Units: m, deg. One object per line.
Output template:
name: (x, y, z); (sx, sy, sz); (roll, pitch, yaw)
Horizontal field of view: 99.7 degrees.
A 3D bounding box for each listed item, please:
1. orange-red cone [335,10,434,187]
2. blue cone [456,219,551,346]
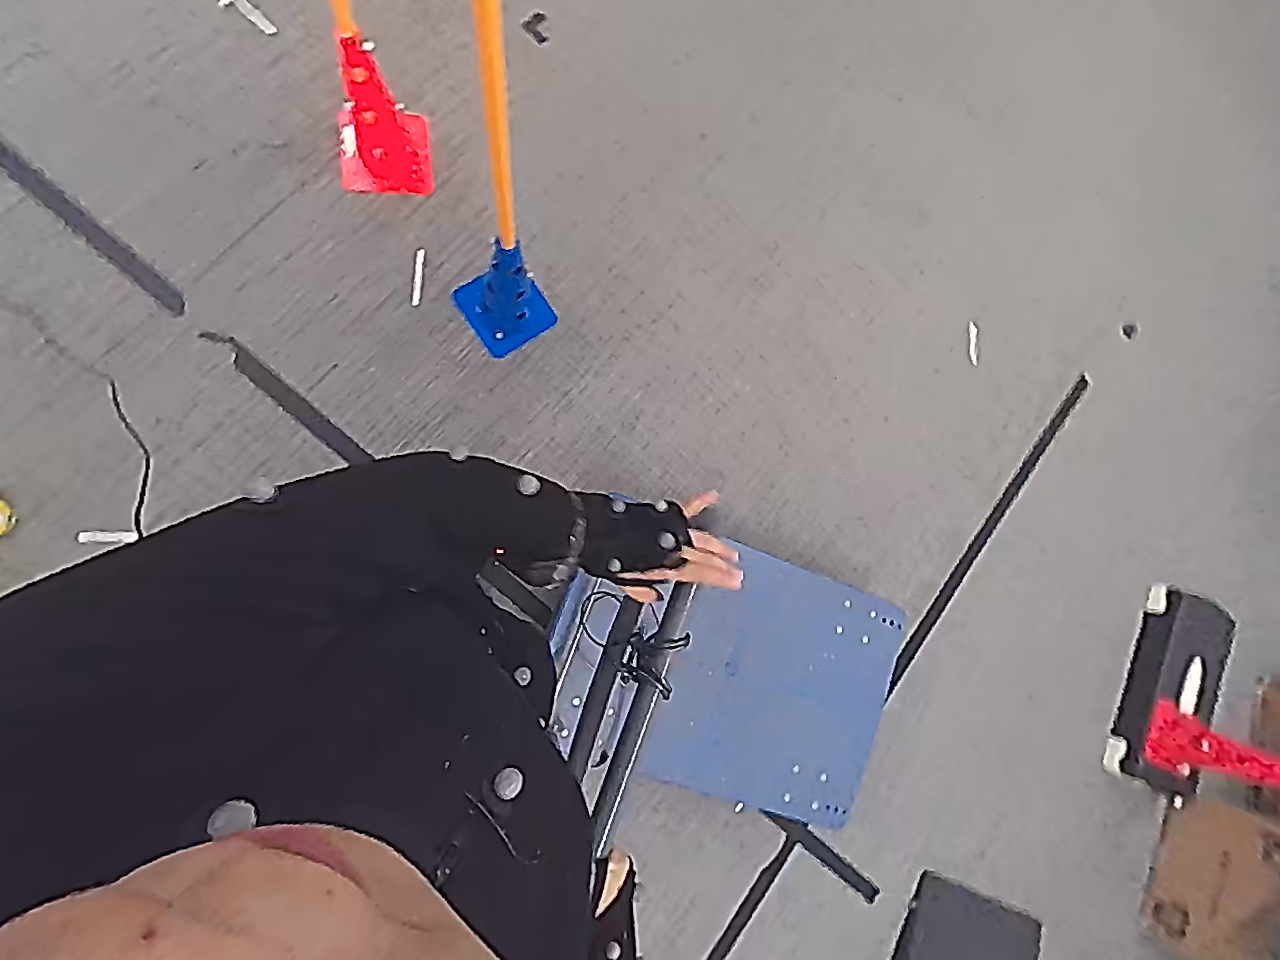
orange-red cone: (-0.558, -0.805, 1.124); (0.198, 0.360, 0.199); (-2, 89, -14)
blue cone: (-0.297, -0.453, 1.190); (0.193, 0.380, 0.192); (-34, 95, -13)
